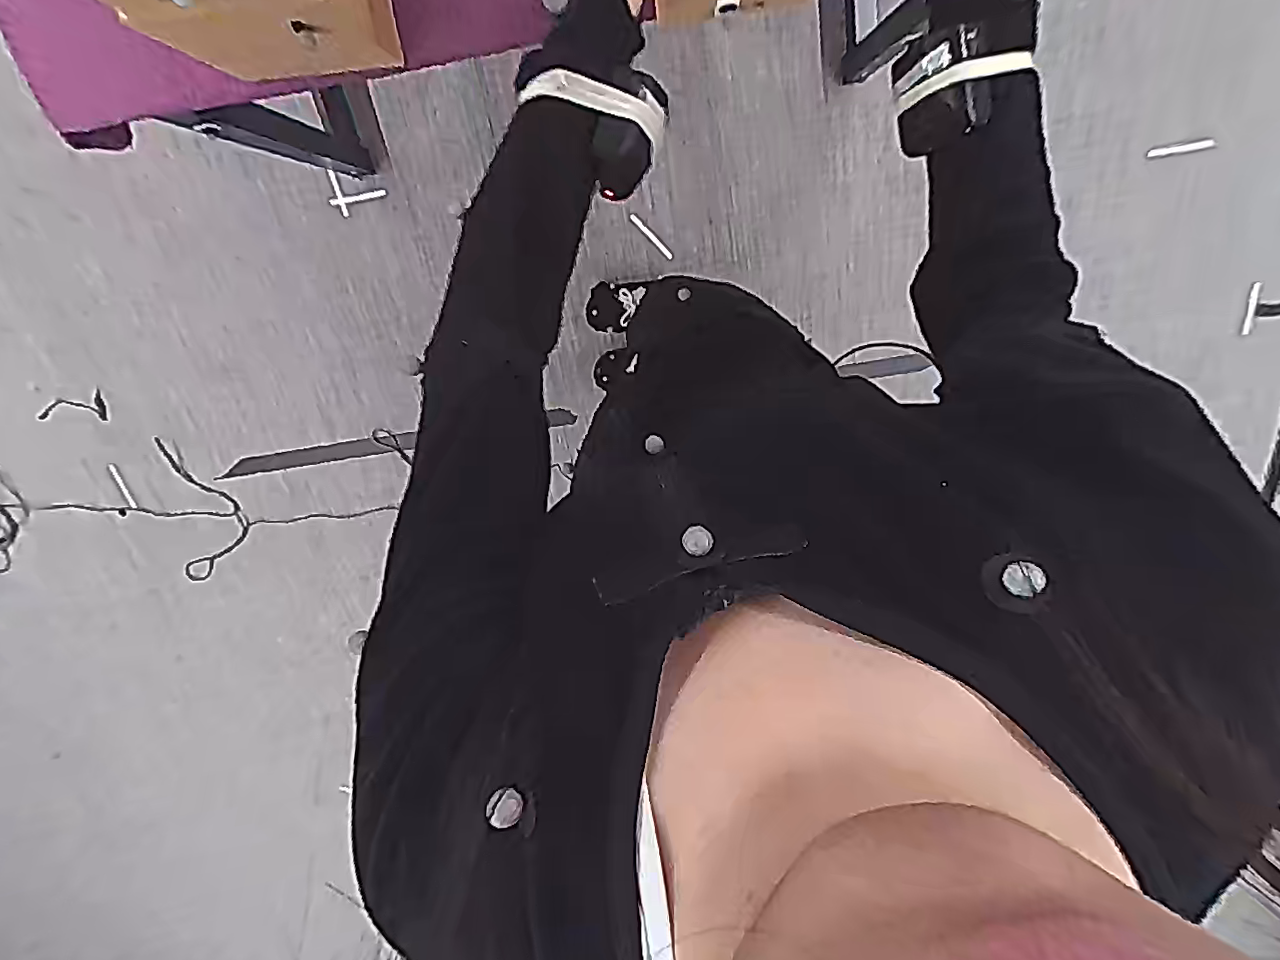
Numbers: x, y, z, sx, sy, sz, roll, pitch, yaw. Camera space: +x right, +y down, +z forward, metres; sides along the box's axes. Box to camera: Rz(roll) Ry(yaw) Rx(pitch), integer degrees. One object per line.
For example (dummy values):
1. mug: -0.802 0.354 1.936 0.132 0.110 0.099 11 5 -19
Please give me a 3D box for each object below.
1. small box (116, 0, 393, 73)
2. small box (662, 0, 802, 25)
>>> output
1. small box: -0.341 -0.487 0.476 0.179 0.176 0.168 -5 113 1
2. small box: 0.093 -0.543 0.466 0.168 0.176 0.179 -8 114 4
